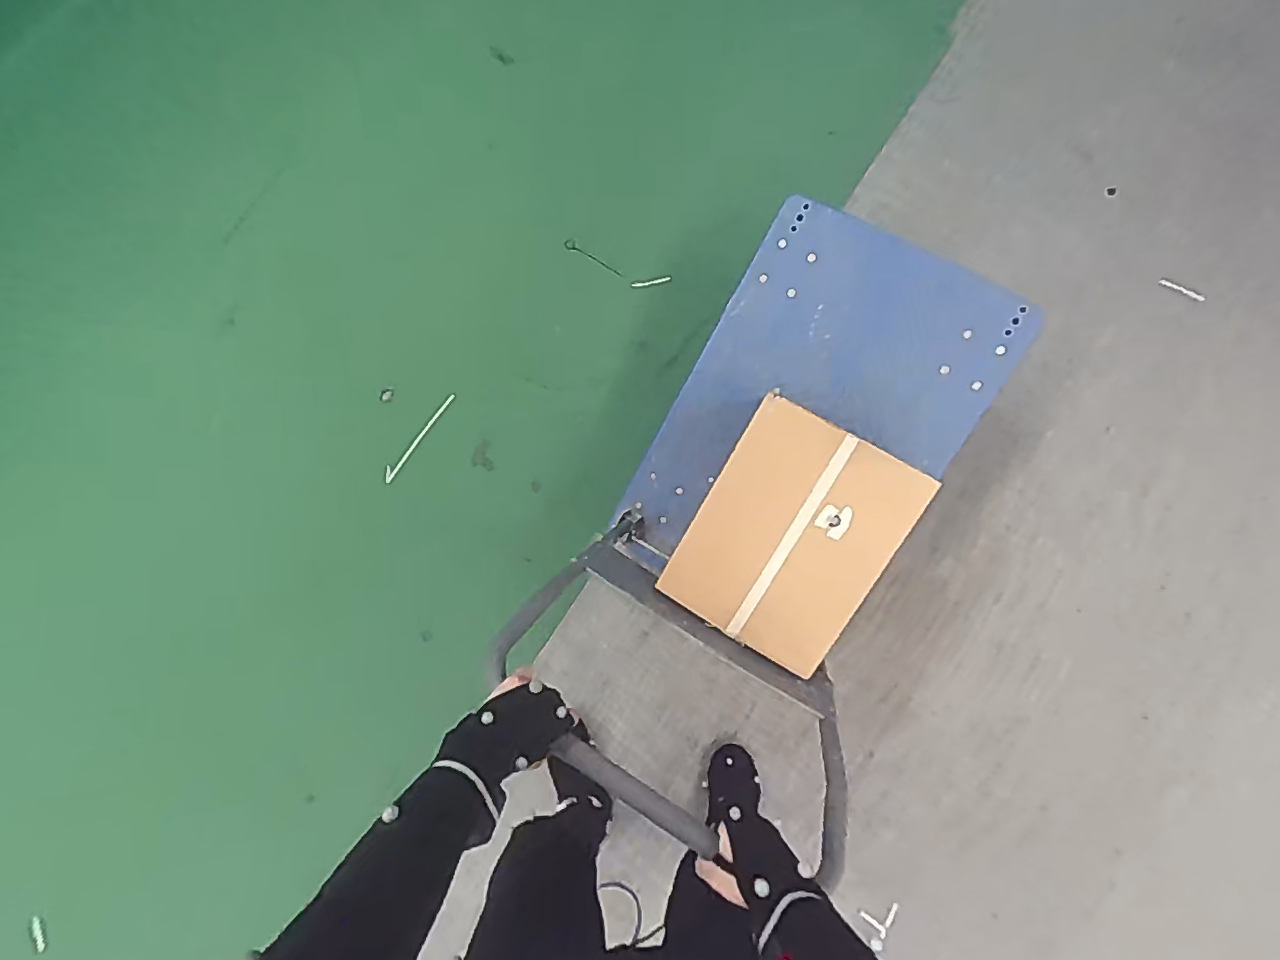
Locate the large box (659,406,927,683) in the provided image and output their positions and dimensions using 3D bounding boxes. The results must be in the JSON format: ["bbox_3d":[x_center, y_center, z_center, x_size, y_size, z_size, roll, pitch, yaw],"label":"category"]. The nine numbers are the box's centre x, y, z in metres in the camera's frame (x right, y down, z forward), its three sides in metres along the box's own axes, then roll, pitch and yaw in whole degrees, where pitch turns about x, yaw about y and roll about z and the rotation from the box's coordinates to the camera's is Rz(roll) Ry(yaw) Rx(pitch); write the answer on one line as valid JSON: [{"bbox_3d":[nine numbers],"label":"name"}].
[{"bbox_3d":[0.286,0.107,1.087,0.320,0.320,0.408,31,100,8],"label":"large box"}]
